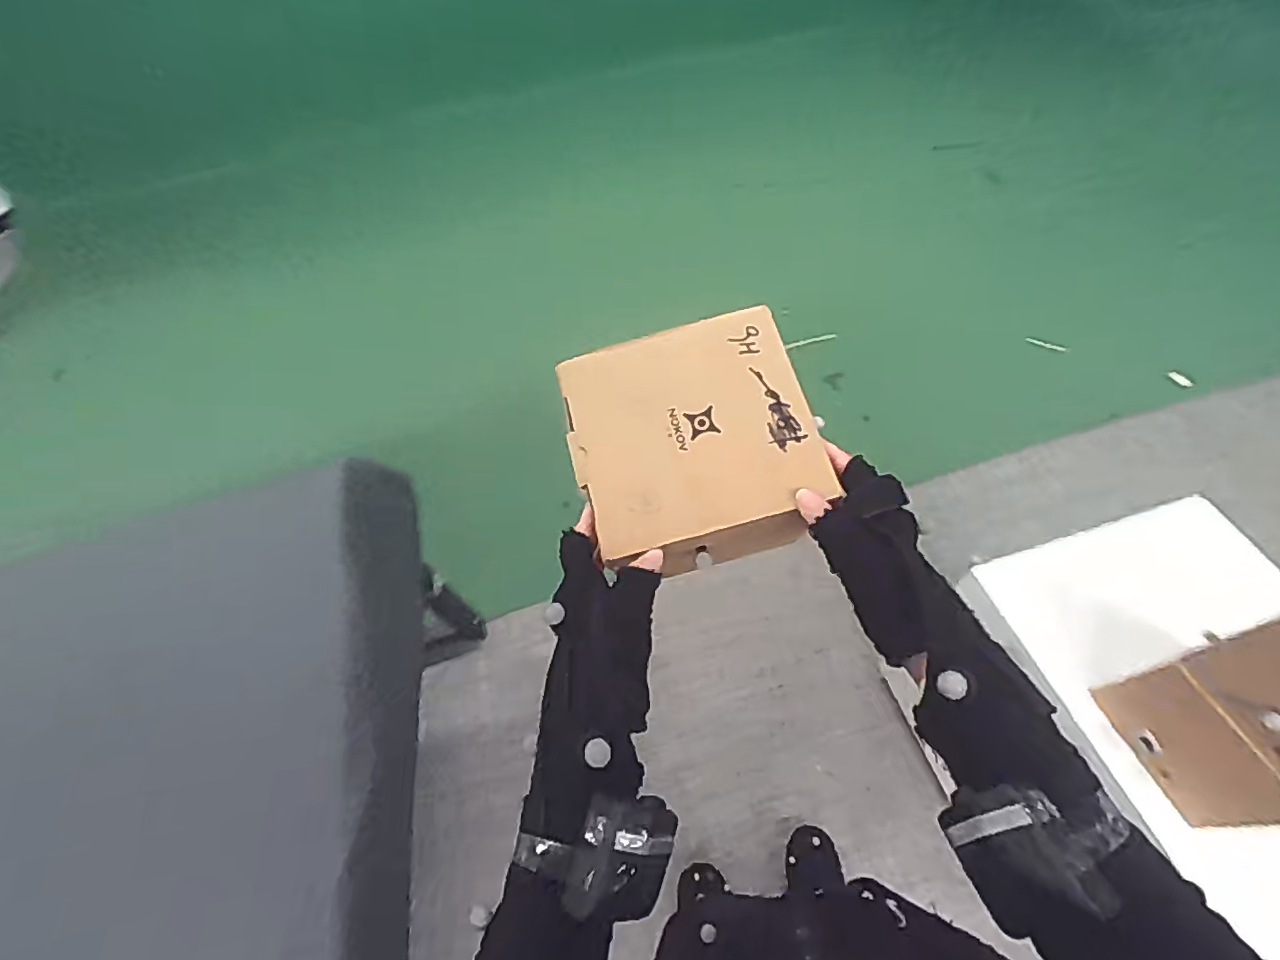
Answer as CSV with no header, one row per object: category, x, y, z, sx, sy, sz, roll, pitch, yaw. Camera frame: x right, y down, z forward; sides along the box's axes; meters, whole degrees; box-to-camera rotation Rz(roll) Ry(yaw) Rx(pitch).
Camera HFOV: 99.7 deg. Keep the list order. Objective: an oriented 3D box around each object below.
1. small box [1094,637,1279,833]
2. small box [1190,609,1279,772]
small box,0.684,0.274,0.609,0.179,0.176,0.168,-20,55,-4
small box,0.670,0.180,0.474,0.179,0.176,0.168,-21,56,-8
